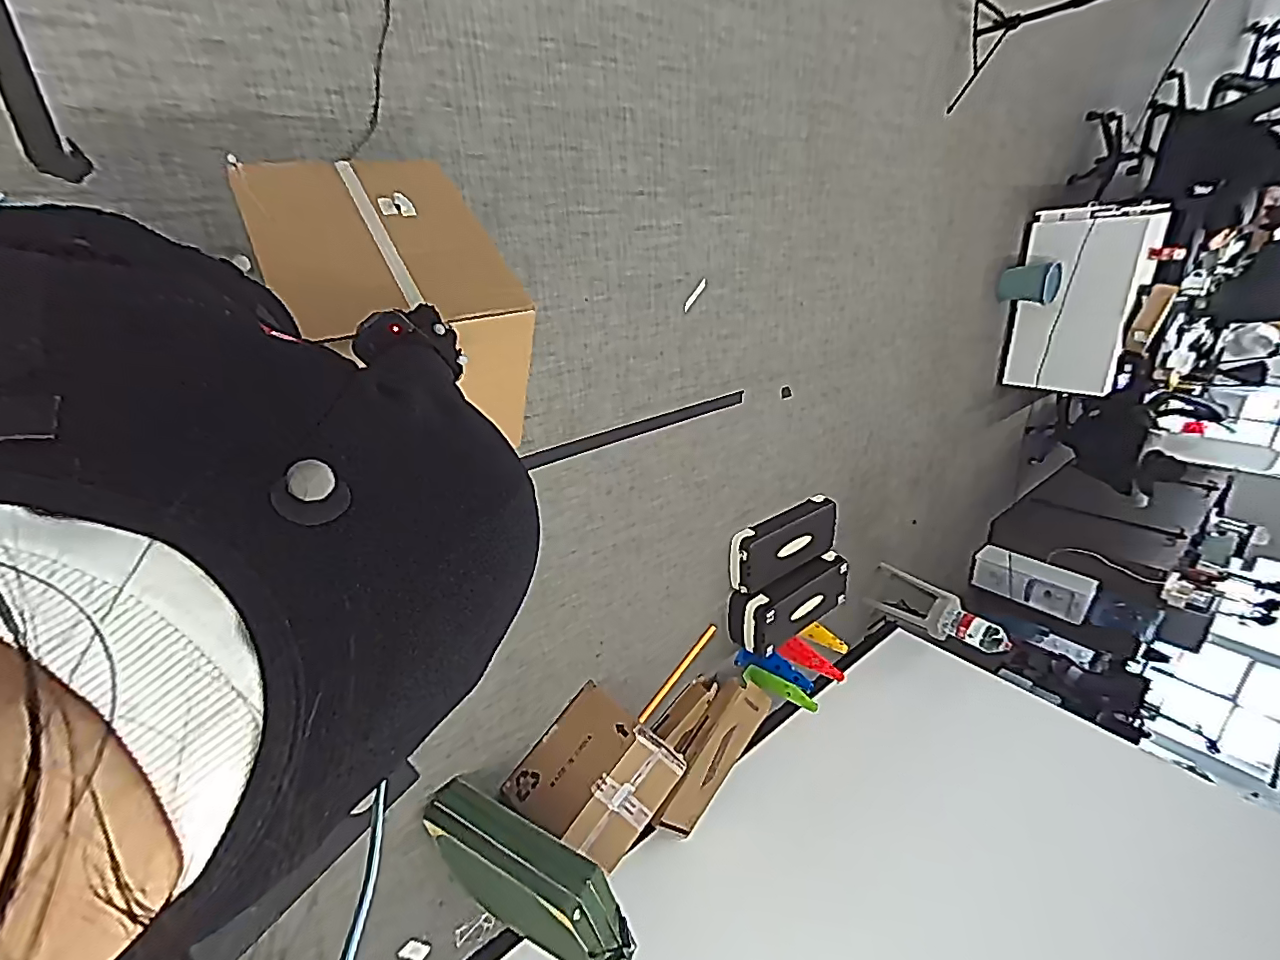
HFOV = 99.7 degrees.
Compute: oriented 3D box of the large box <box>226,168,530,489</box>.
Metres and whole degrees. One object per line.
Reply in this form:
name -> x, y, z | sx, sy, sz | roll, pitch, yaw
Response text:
large box -> -0.419, -0.260, 0.906 | 0.320, 0.408, 0.320 | -20, 152, -30
